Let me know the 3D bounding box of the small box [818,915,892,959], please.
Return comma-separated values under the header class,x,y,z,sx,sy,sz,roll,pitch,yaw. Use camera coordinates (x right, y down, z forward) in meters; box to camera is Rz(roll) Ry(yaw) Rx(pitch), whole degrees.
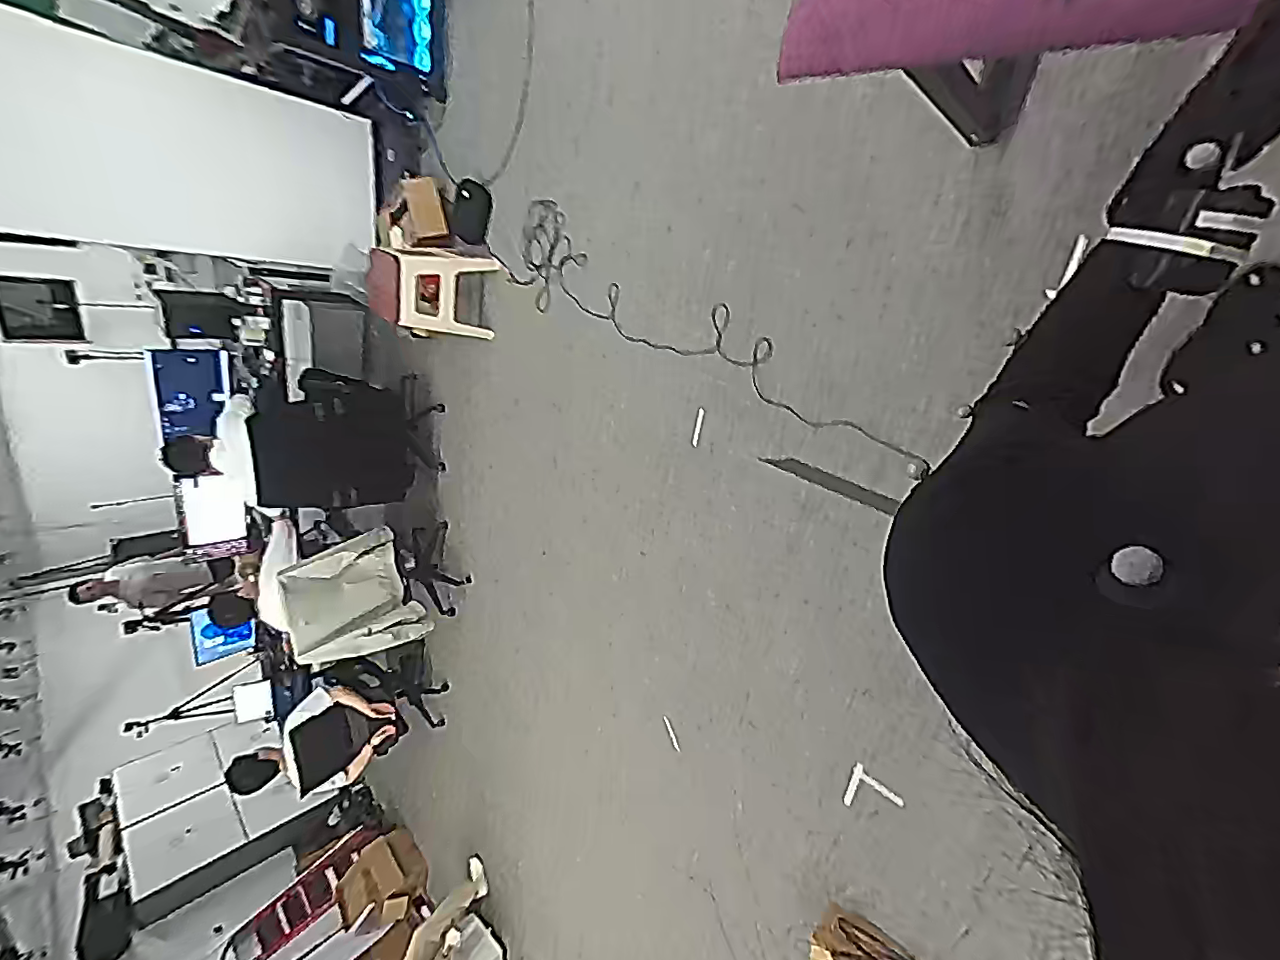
class,x,y,z,sx,sy,sz,roll,pitch,yaw
small box,0.694,1.567,1.745,0.179,0.176,0.168,4,103,44
